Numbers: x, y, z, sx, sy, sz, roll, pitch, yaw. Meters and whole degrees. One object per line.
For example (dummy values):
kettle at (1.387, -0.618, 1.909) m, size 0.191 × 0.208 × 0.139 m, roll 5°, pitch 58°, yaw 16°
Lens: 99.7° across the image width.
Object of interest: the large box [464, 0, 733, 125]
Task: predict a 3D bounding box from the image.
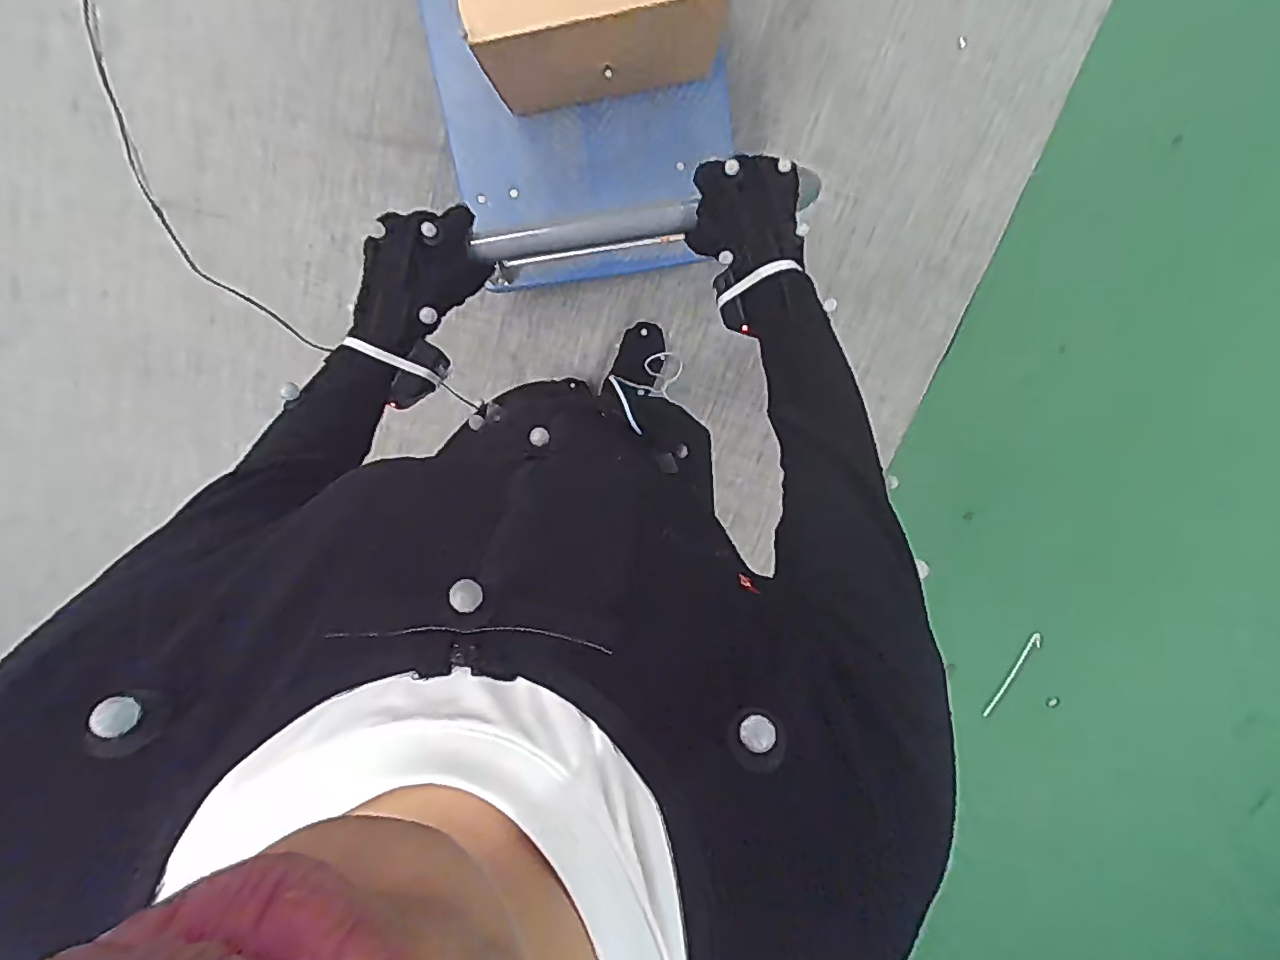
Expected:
large box at (-0.077, -0.863, 0.919) m, size 0.408 × 0.320 × 0.320 m, roll -9°, pitch 105°, yaw 4°
